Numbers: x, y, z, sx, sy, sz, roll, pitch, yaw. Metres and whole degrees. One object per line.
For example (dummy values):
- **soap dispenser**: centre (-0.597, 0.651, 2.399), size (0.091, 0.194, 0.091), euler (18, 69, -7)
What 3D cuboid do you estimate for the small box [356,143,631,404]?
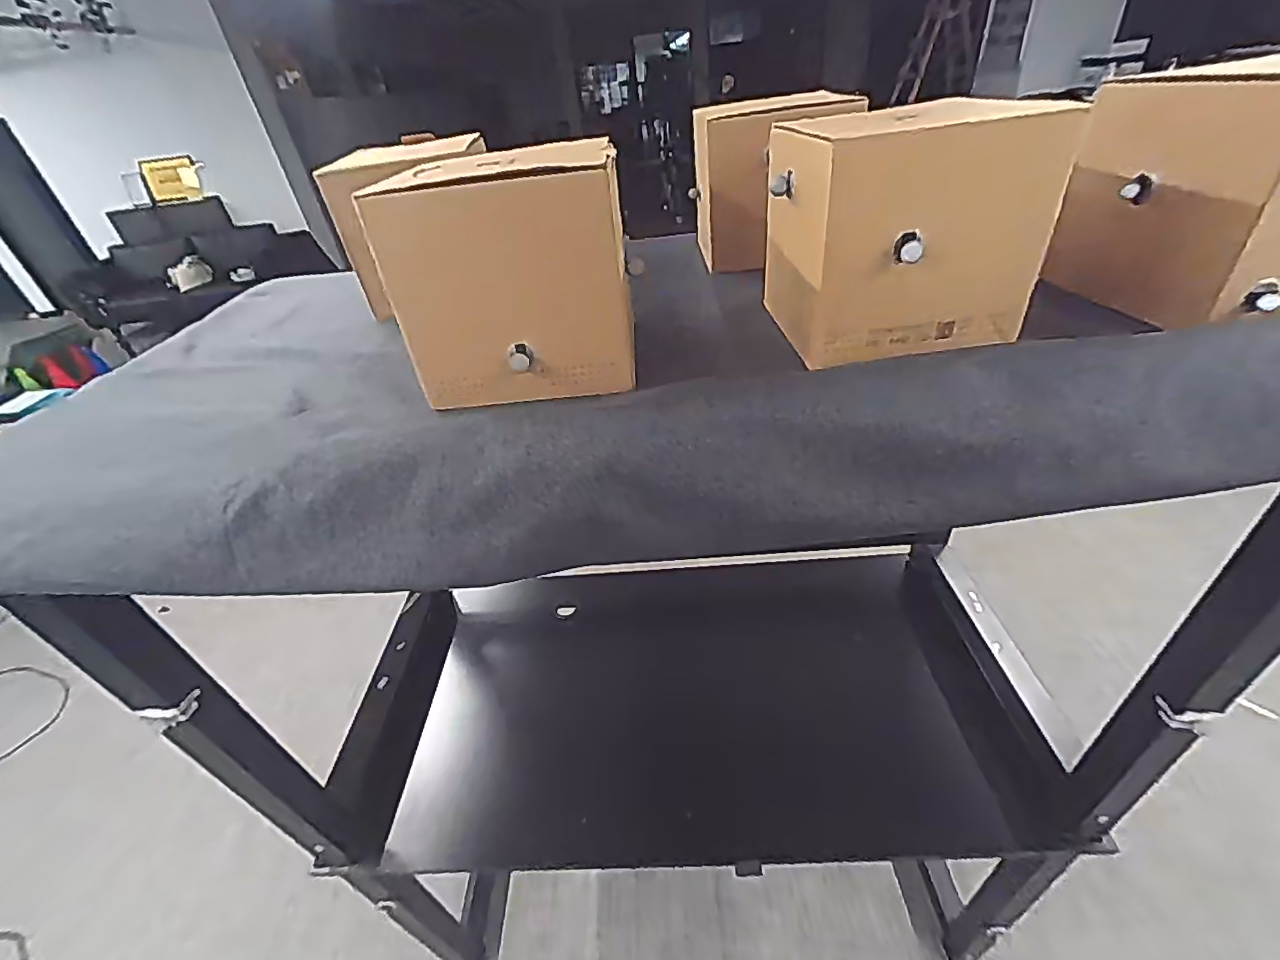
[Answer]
- **small box**: centre (-0.100, -0.181, 0.471), size (0.179, 0.176, 0.168), euler (-5, 36, 2)

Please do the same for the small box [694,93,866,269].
- **small box**: centre (0.166, -0.378, 0.687), size (0.179, 0.176, 0.168), euler (-5, 37, 4)

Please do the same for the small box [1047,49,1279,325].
- **small box**: centre (0.481, -0.232, 0.431), size (0.168, 0.176, 0.179), euler (-8, 35, 0)

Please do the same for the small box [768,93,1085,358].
- **small box**: centre (0.208, -0.210, 0.456), size (0.168, 0.176, 0.179), euler (-6, 36, 2)

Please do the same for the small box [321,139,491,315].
- **small box**: centre (-0.265, -0.328, 0.698), size (0.168, 0.176, 0.179), euler (-10, 37, -1)
